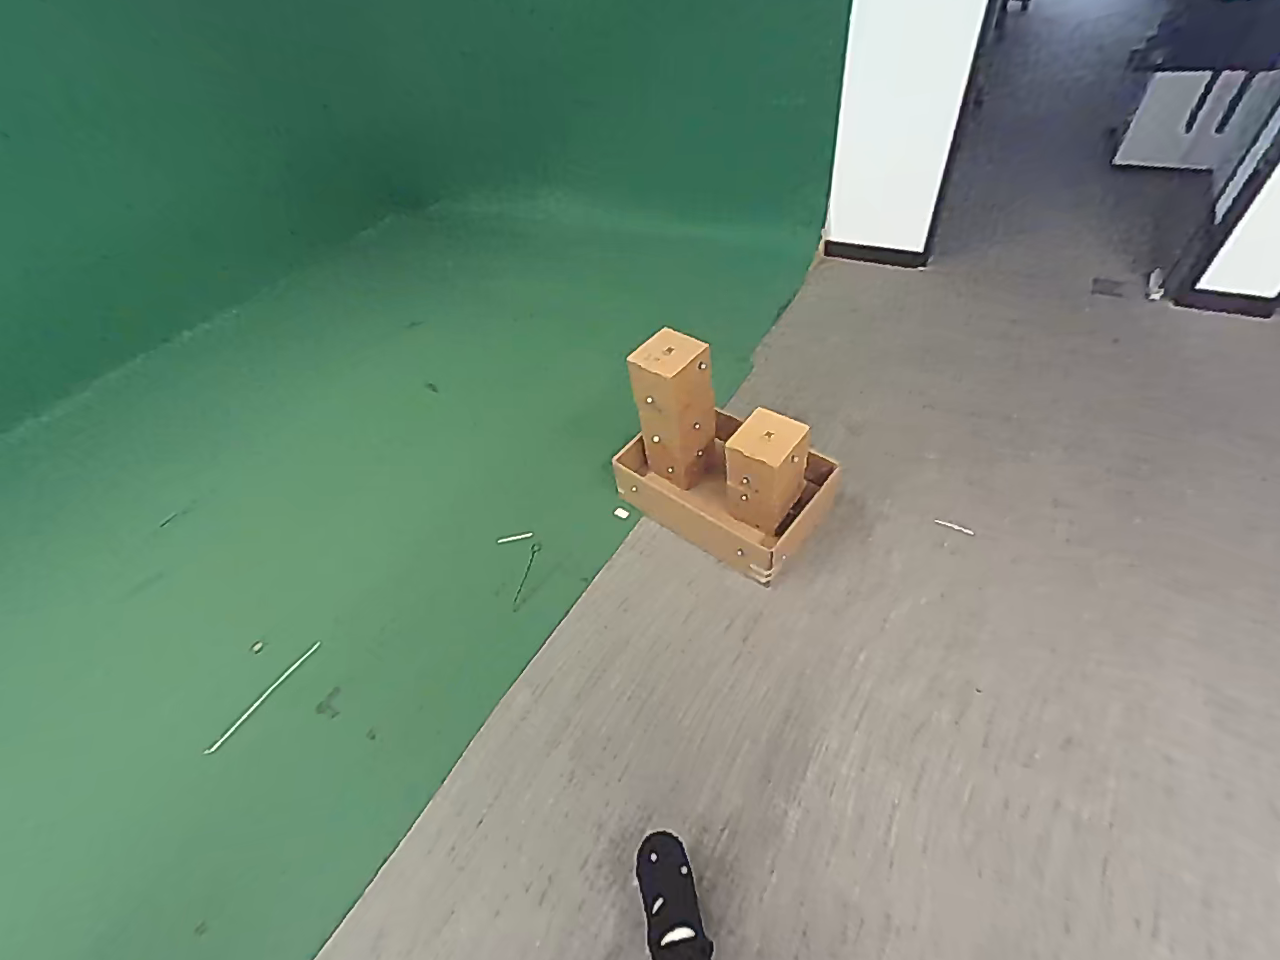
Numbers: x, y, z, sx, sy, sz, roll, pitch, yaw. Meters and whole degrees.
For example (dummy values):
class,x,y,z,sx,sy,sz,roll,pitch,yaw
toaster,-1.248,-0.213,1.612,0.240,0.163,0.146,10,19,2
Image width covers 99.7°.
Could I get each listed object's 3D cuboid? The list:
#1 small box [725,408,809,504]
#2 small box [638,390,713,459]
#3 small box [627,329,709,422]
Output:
class,x,y,z,sx,sy,sz,roll,pitch,yaw
small box,0.359,-0.067,1.539,0.168,0.176,0.179,28,62,31
small box,0.113,-0.200,1.703,0.168,0.176,0.179,34,64,31
small box,0.085,-0.305,1.578,0.168,0.176,0.179,31,63,30
